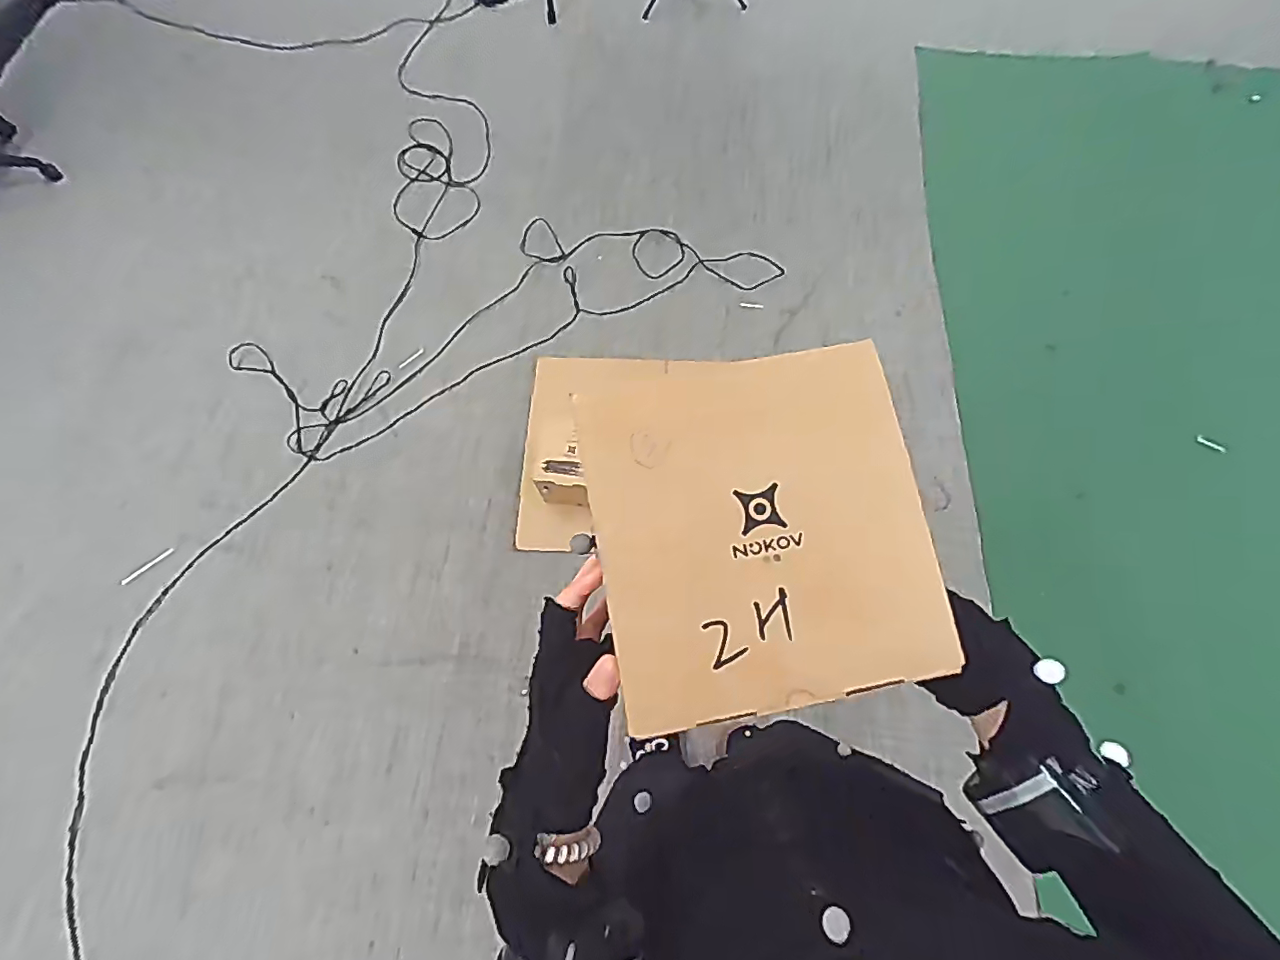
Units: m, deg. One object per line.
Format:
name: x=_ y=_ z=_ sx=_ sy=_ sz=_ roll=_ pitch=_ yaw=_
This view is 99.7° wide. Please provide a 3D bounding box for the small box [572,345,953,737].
small box: x=0.054 y=0.038 z=0.349 sx=0.168 sy=0.176 sz=0.179 roll=-10 pitch=81 yaw=-3
